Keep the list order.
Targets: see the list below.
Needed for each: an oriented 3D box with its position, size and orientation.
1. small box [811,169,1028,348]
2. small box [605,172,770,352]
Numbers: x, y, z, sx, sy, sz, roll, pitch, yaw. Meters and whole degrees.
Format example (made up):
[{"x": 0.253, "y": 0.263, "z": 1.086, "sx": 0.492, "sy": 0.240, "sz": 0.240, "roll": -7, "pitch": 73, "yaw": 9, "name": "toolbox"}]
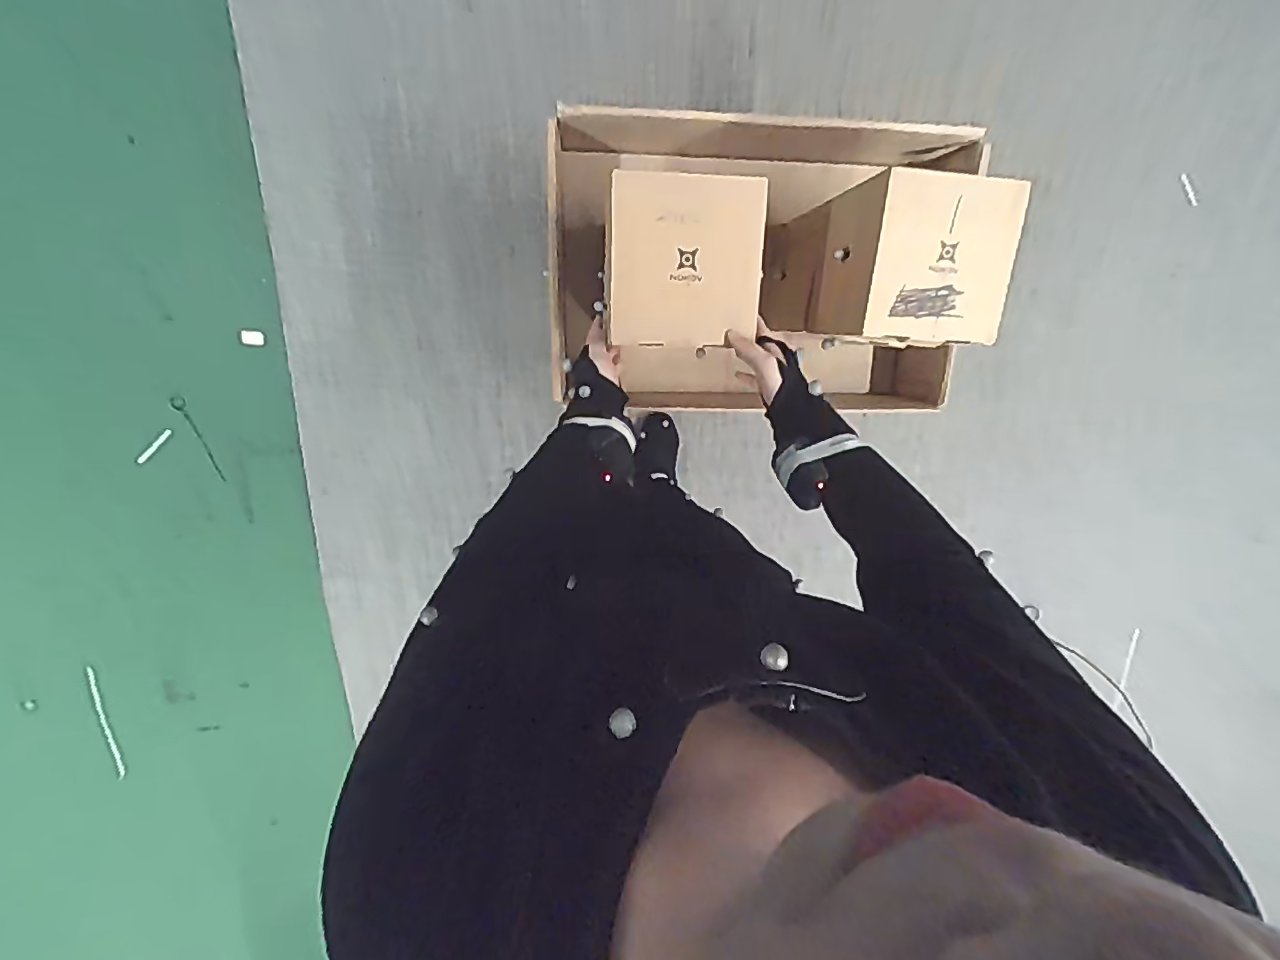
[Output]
[{"x": 0.332, "y": -0.265, "z": 0.682, "sx": 0.168, "sy": 0.176, "sz": 0.179, "roll": 2, "pitch": 105, "yaw": -6, "name": "small box"}, {"x": 0.045, "y": -0.251, "z": 0.658, "sx": 0.168, "sy": 0.176, "sz": 0.179, "roll": 0, "pitch": 105, "yaw": -6, "name": "small box"}]
